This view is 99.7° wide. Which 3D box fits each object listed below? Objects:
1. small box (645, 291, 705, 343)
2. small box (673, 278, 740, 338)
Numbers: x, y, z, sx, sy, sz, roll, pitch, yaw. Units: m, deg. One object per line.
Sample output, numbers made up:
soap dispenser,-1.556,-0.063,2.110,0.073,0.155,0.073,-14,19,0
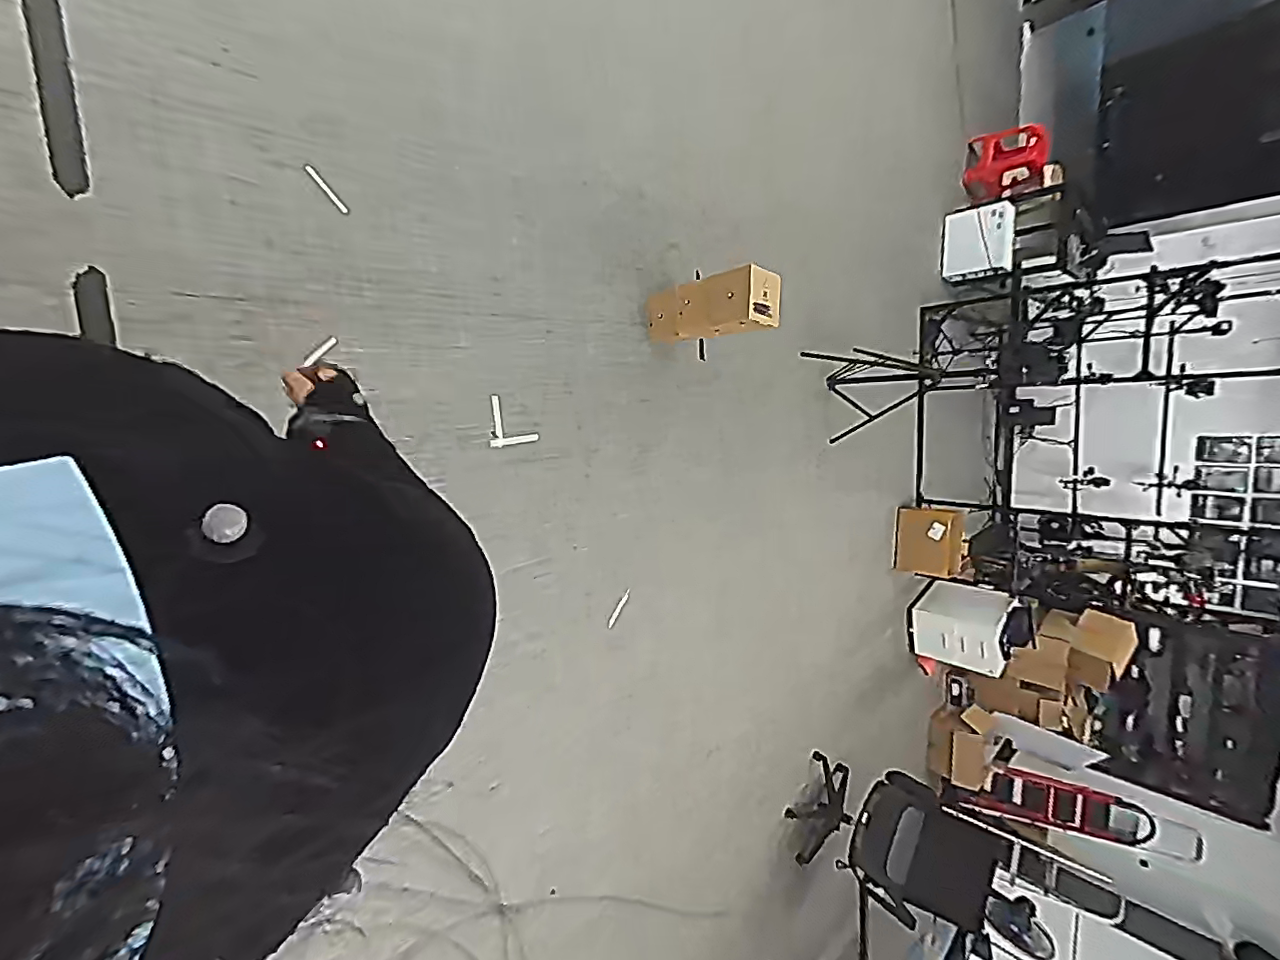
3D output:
small box,0.131,-0.620,2.072,0.179,0.176,0.168,-13,103,-43
small box,0.239,-0.614,1.951,0.179,0.176,0.168,-4,96,-42
